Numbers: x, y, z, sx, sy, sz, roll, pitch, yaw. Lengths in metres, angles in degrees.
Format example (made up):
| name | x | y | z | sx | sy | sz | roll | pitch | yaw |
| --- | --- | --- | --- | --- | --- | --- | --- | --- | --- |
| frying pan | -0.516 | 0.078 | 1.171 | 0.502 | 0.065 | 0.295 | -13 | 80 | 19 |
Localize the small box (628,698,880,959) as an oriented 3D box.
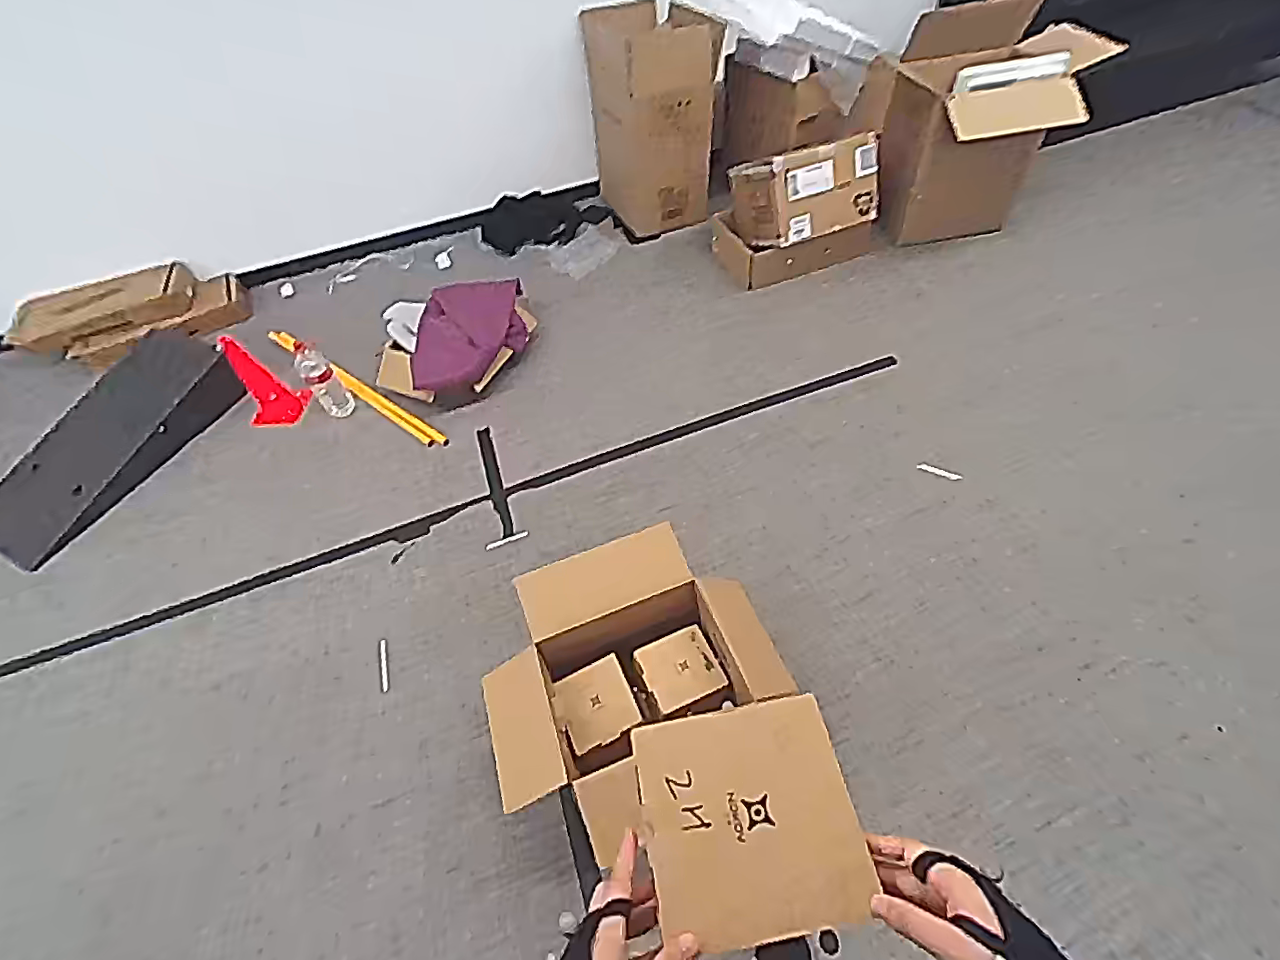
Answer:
| name | x | y | z | sx | sy | sz | roll | pitch | yaw |
| --- | --- | --- | --- | --- | --- | --- | --- | --- | --- |
| small box | 0.092 | 0.327 | 0.518 | 0.179 | 0.176 | 0.168 | -11 | 54 | -2 |
